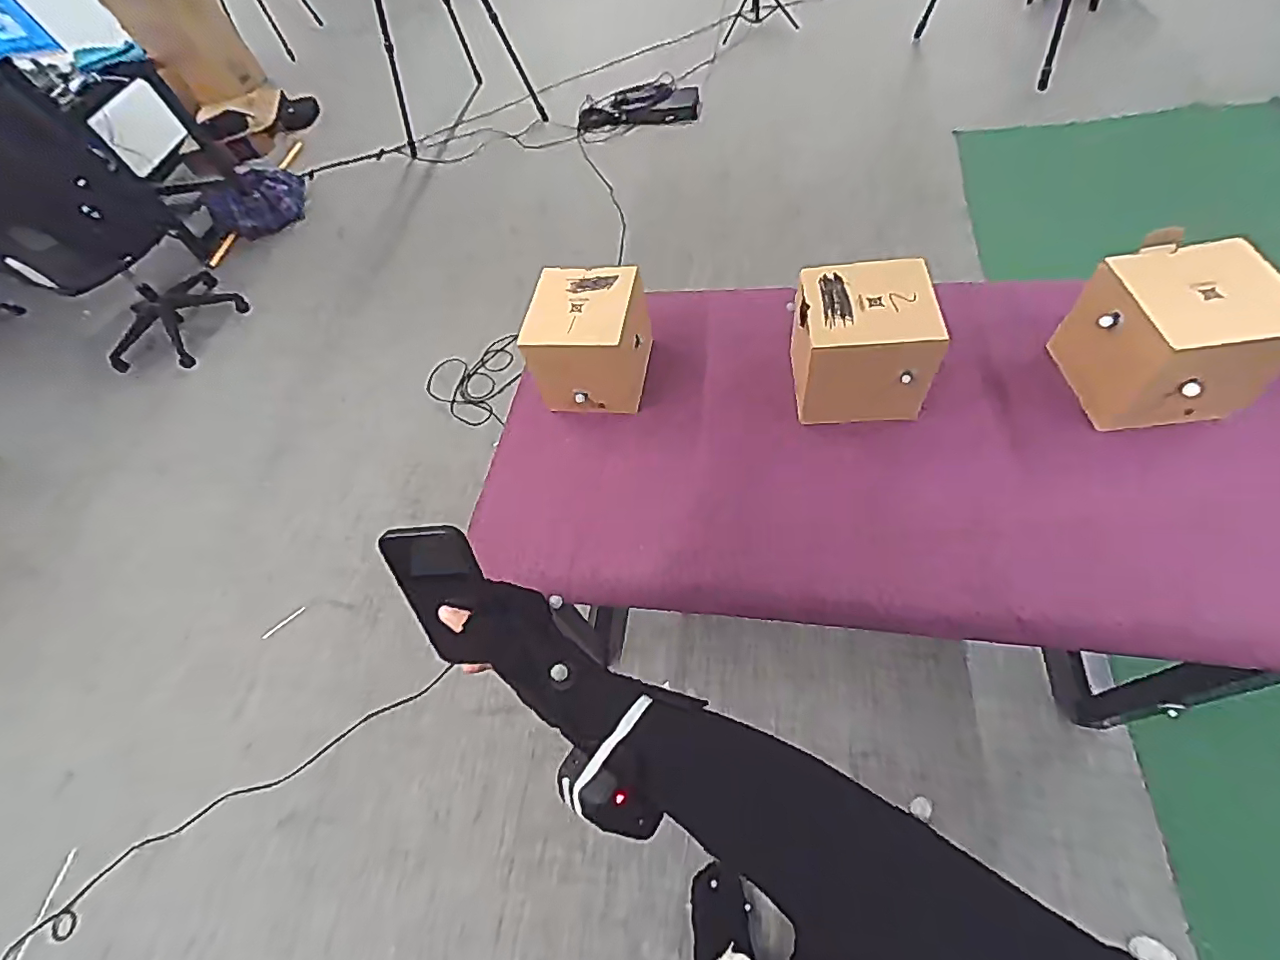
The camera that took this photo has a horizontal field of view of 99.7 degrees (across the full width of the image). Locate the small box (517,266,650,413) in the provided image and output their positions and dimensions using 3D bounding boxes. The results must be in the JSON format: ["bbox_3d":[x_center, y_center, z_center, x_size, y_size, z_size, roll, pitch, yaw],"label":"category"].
[{"bbox_3d":[-0.083,-0.235,0.910,0.168,0.176,0.179,4,61,13],"label":"small box"}]

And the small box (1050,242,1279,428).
[{"bbox_3d":[0.710,-0.185,0.733,0.168,0.176,0.179,-6,57,8],"label":"small box"}]
